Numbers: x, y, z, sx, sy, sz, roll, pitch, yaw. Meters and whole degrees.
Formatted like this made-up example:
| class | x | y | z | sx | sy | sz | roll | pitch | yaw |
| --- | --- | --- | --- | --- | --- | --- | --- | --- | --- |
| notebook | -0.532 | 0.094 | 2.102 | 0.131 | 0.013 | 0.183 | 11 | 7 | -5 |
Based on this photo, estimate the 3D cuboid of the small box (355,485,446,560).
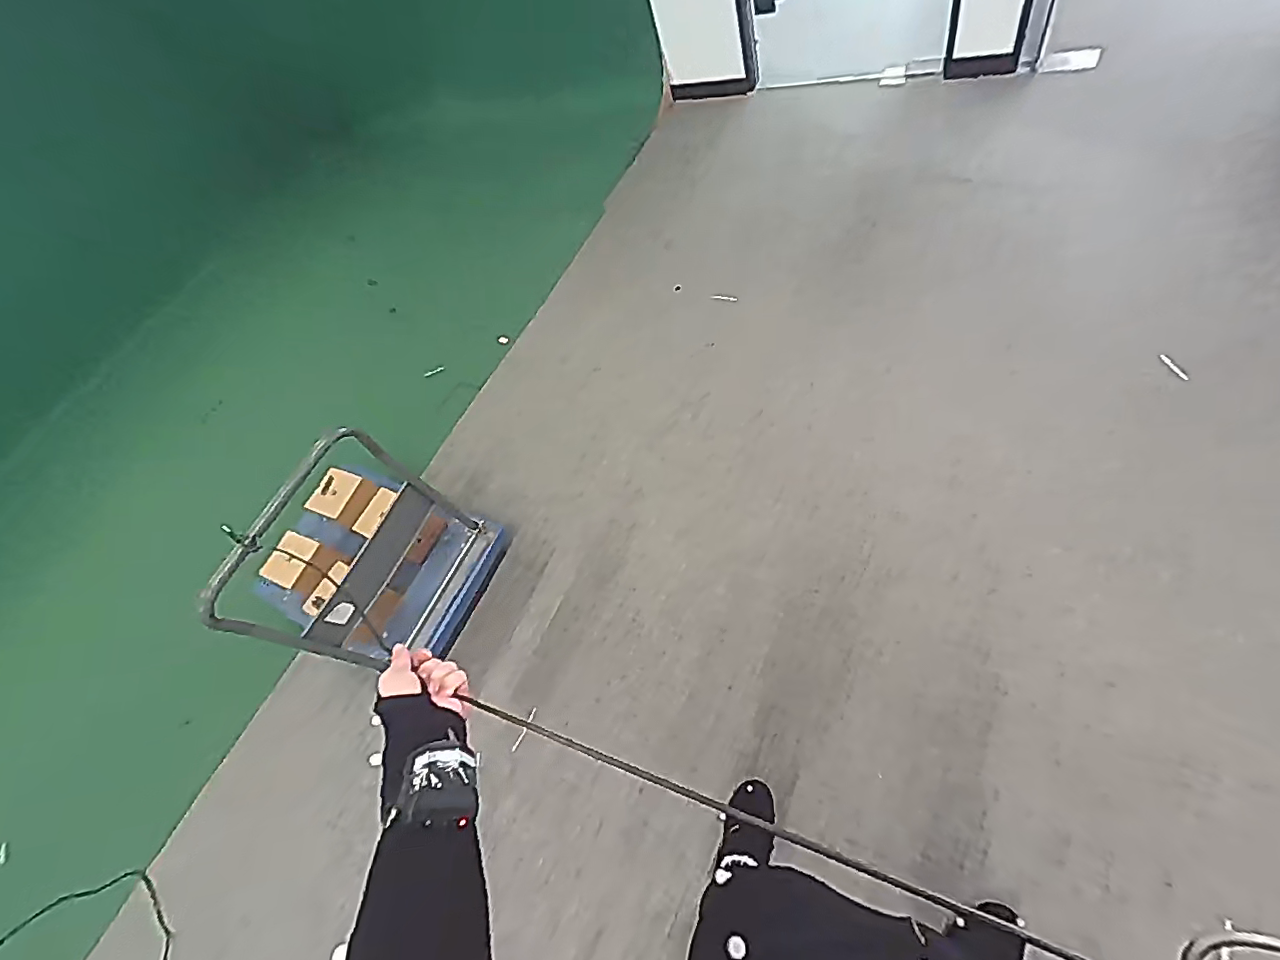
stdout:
| class | x | y | z | sx | sy | sz | roll | pitch | yaw |
| --- | --- | --- | --- | --- | --- | --- | --- | --- | --- |
| small box | -0.790 | 0.146 | 1.798 | 0.179 | 0.176 | 0.168 | 19 | 69 | 27 |

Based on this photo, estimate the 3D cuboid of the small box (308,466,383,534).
| class | x | y | z | sx | sy | sz | roll | pitch | yaw |
| --- | --- | --- | --- | --- | --- | --- | --- | --- | --- |
| small box | -1.018 | 0.074 | 1.922 | 0.179 | 0.176 | 0.168 | 14 | 68 | 25 |

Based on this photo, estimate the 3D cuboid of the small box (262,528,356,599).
| class | x | y | z | sx | sy | sz | roll | pitch | yaw |
| --- | --- | --- | --- | --- | --- | --- | --- | --- | --- |
| small box | -1.114 | 0.289 | 1.833 | 0.179 | 0.176 | 0.168 | 14 | 66 | 26 |
